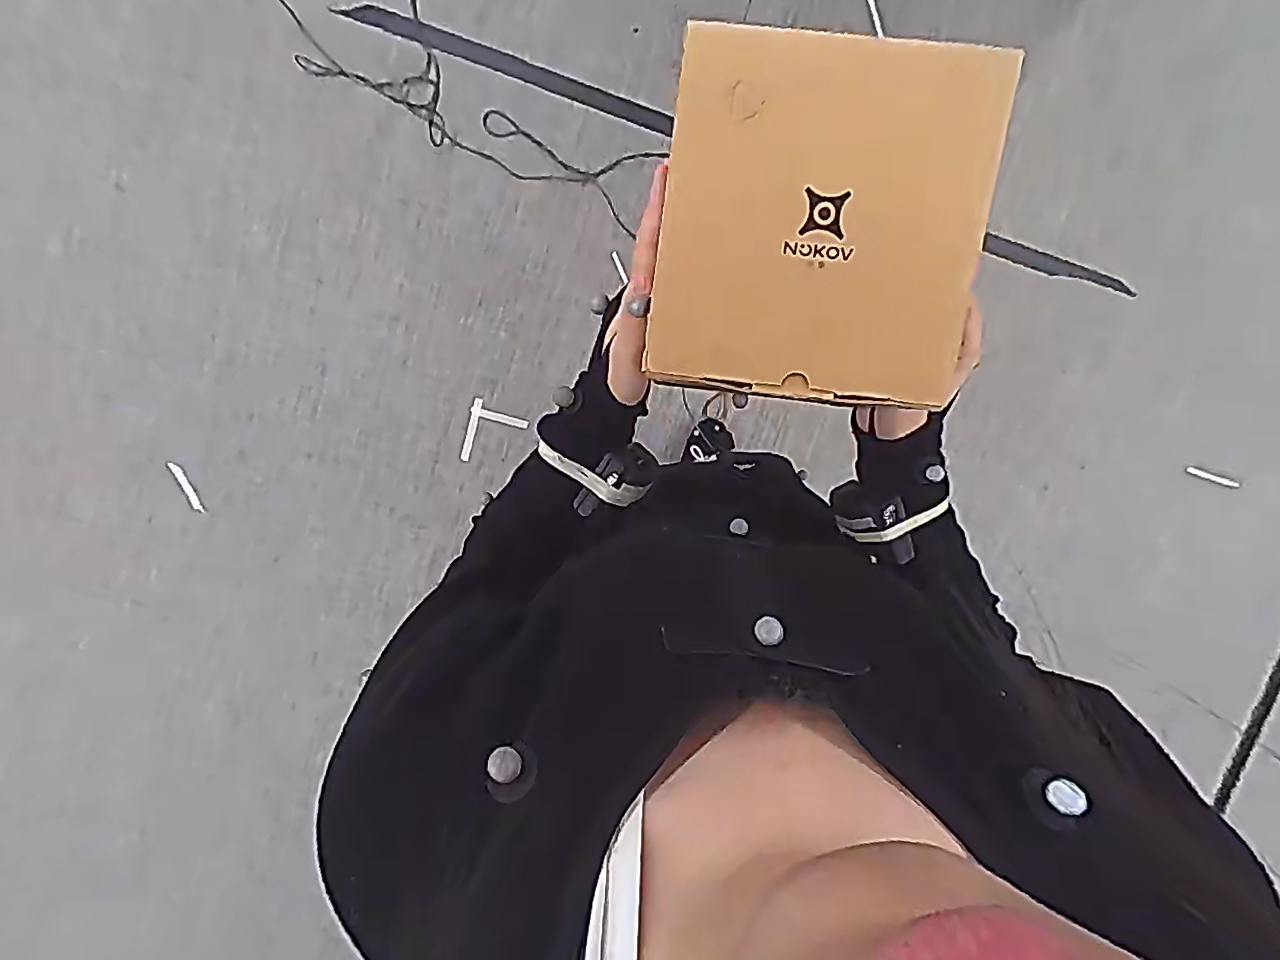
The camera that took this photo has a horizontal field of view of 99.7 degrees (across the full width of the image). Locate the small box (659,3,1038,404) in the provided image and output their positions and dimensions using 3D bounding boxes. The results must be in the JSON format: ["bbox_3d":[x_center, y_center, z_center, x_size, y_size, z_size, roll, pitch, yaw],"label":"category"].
[{"bbox_3d":[0.103,-0.148,0.351,0.168,0.176,0.179,7,101,2],"label":"small box"}]
